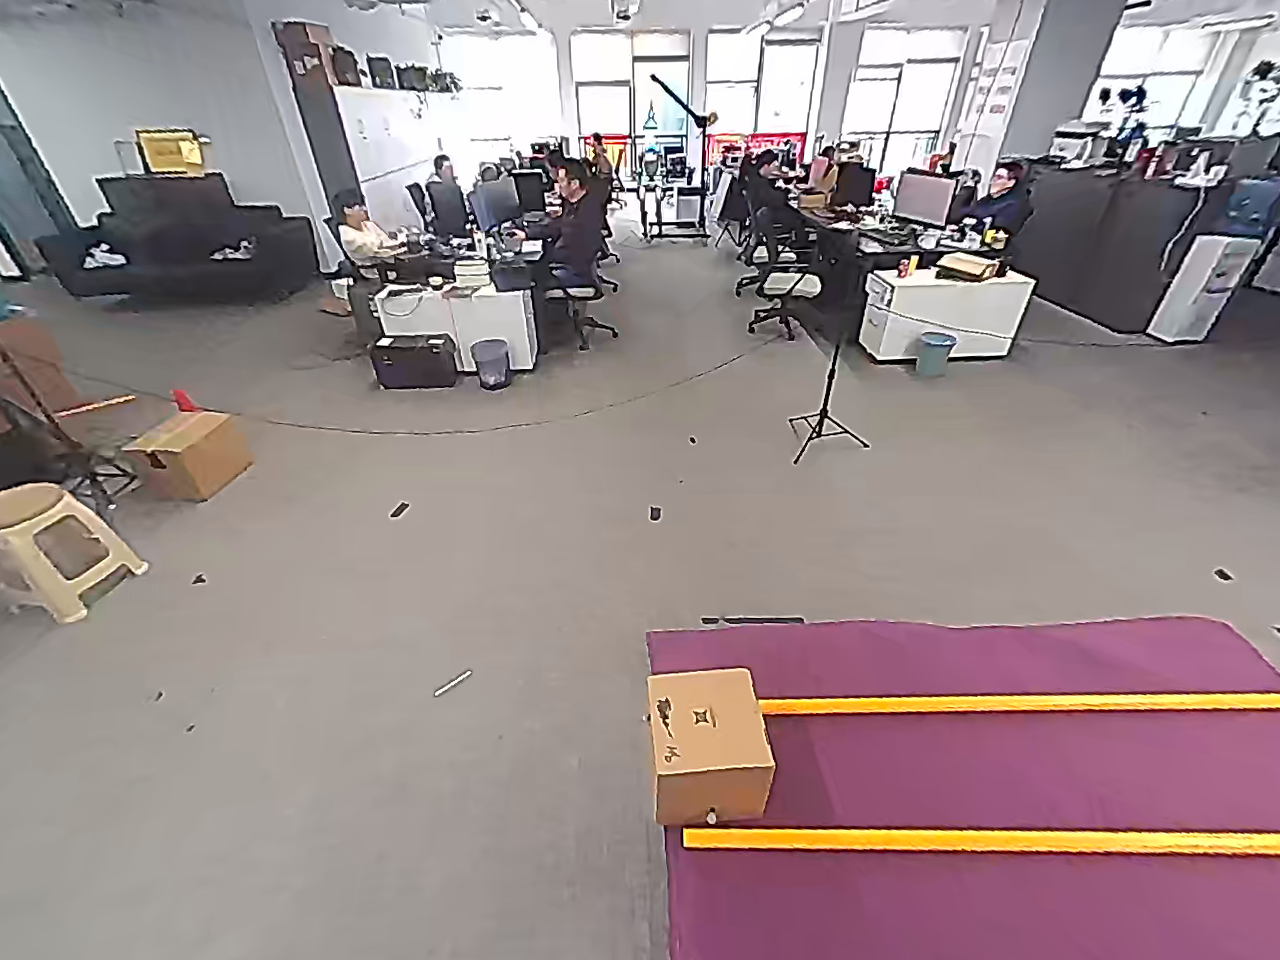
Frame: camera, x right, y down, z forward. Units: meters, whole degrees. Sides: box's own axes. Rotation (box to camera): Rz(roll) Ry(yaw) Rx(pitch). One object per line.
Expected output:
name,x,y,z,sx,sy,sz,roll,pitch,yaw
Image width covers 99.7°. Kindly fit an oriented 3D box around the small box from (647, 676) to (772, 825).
small box,0.103,0.448,0.899,0.179,0.176,0.168,-2,36,-3
